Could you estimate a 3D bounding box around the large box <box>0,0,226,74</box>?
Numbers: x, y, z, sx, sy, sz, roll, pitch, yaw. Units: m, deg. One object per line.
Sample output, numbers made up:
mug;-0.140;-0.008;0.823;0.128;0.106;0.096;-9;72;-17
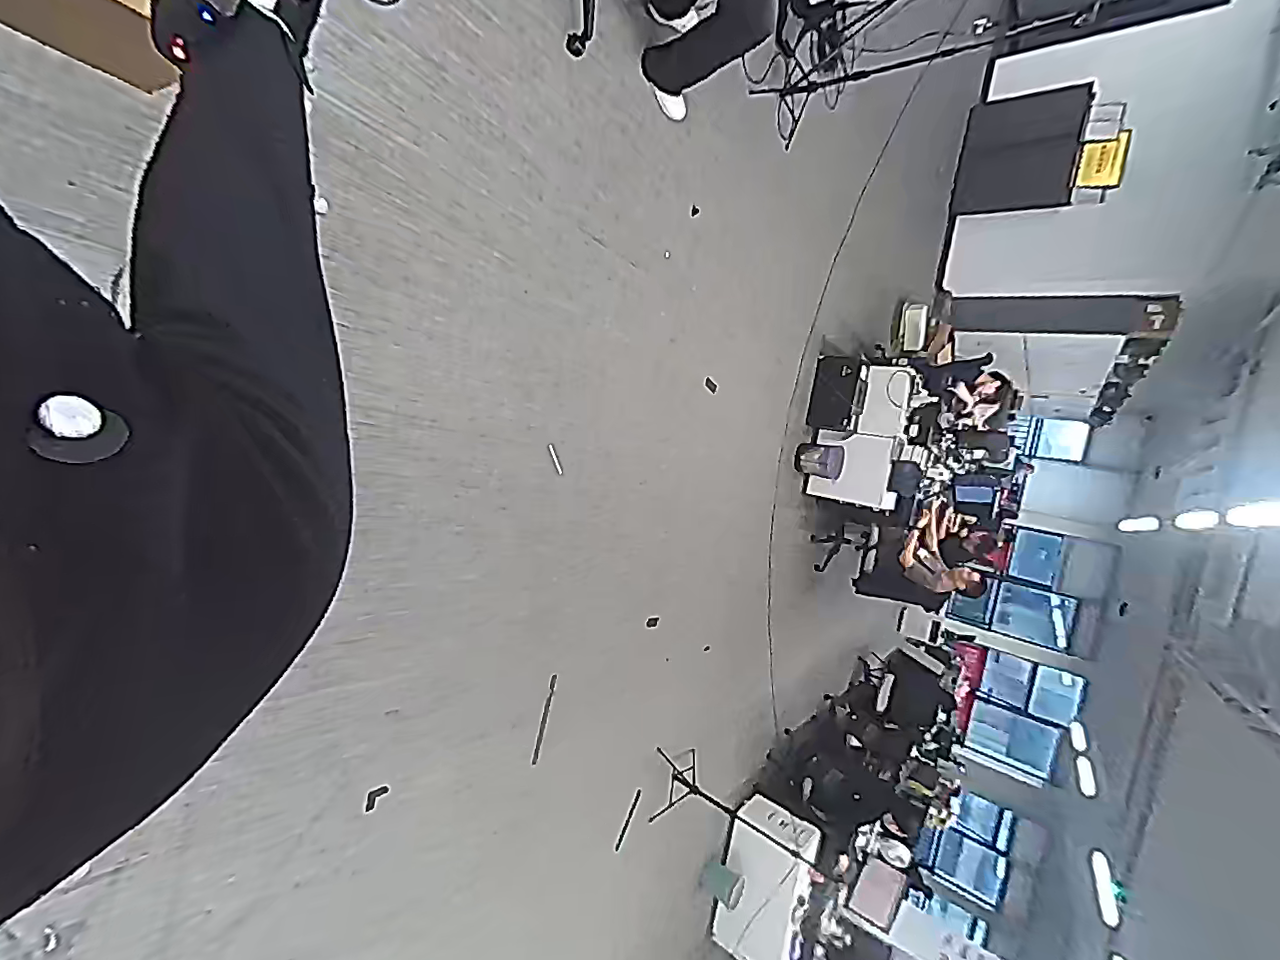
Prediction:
large box;-0.534;-0.557;0.351;0.408;0.320;0.320;5;105;-53
